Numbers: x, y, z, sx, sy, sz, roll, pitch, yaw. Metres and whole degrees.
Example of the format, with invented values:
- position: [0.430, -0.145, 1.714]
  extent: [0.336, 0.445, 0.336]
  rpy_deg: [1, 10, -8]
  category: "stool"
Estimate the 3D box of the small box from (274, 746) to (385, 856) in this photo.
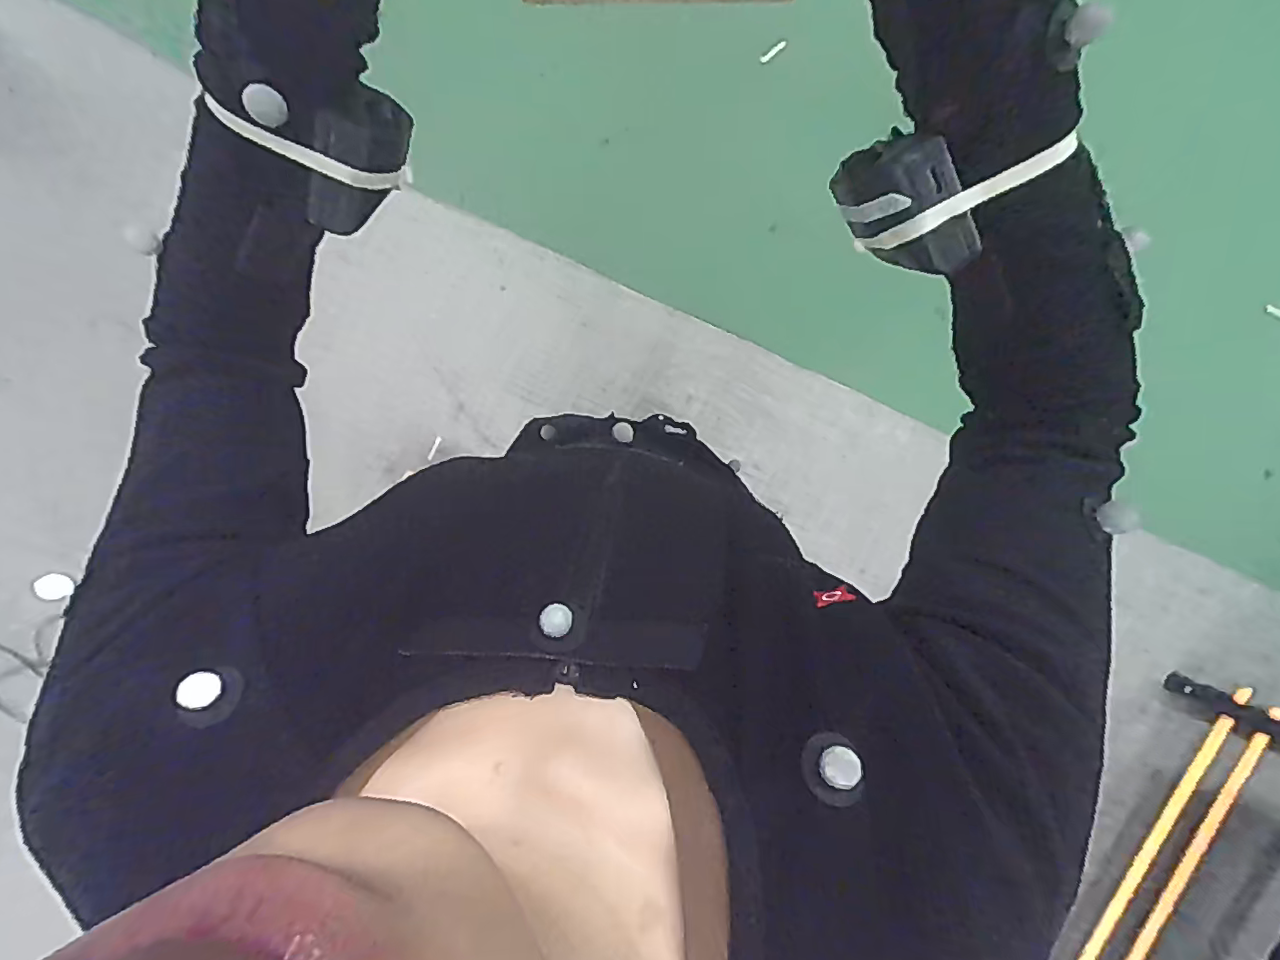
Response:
- position: [-0.836, 0.861, 1.471]
  extent: [0.179, 0.176, 0.168]
  rpy_deg: [23, 95, -2]
  category: "small box"
